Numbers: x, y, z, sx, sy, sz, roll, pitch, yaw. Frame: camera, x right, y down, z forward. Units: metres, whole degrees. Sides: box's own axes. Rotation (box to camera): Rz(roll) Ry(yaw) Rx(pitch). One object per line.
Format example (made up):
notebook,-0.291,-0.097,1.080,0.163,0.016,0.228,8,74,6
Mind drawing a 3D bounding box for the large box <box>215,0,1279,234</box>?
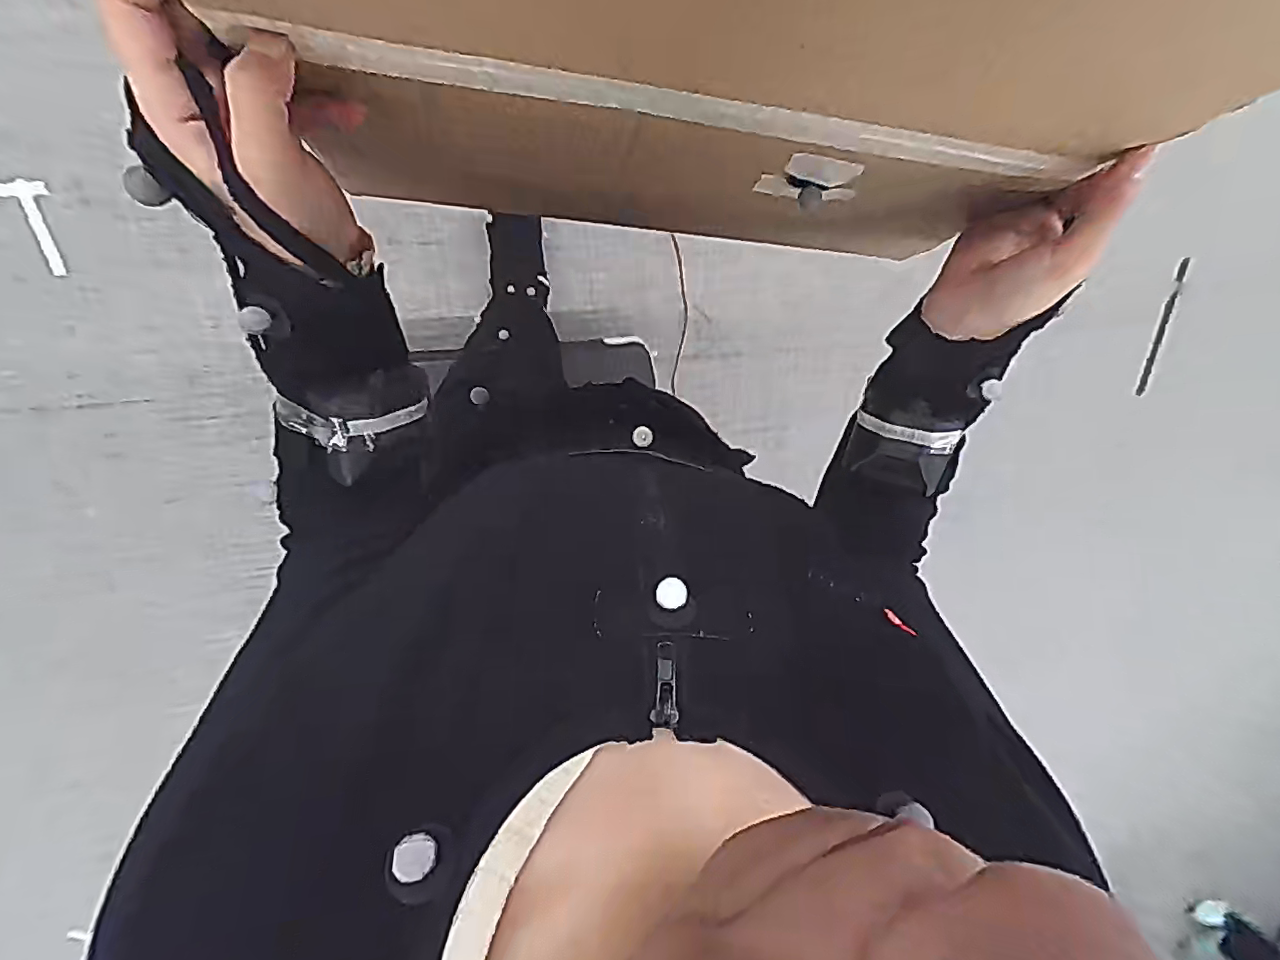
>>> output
large box,0.034,-0.330,0.226,0.408,0.320,0.320,0,96,-11
